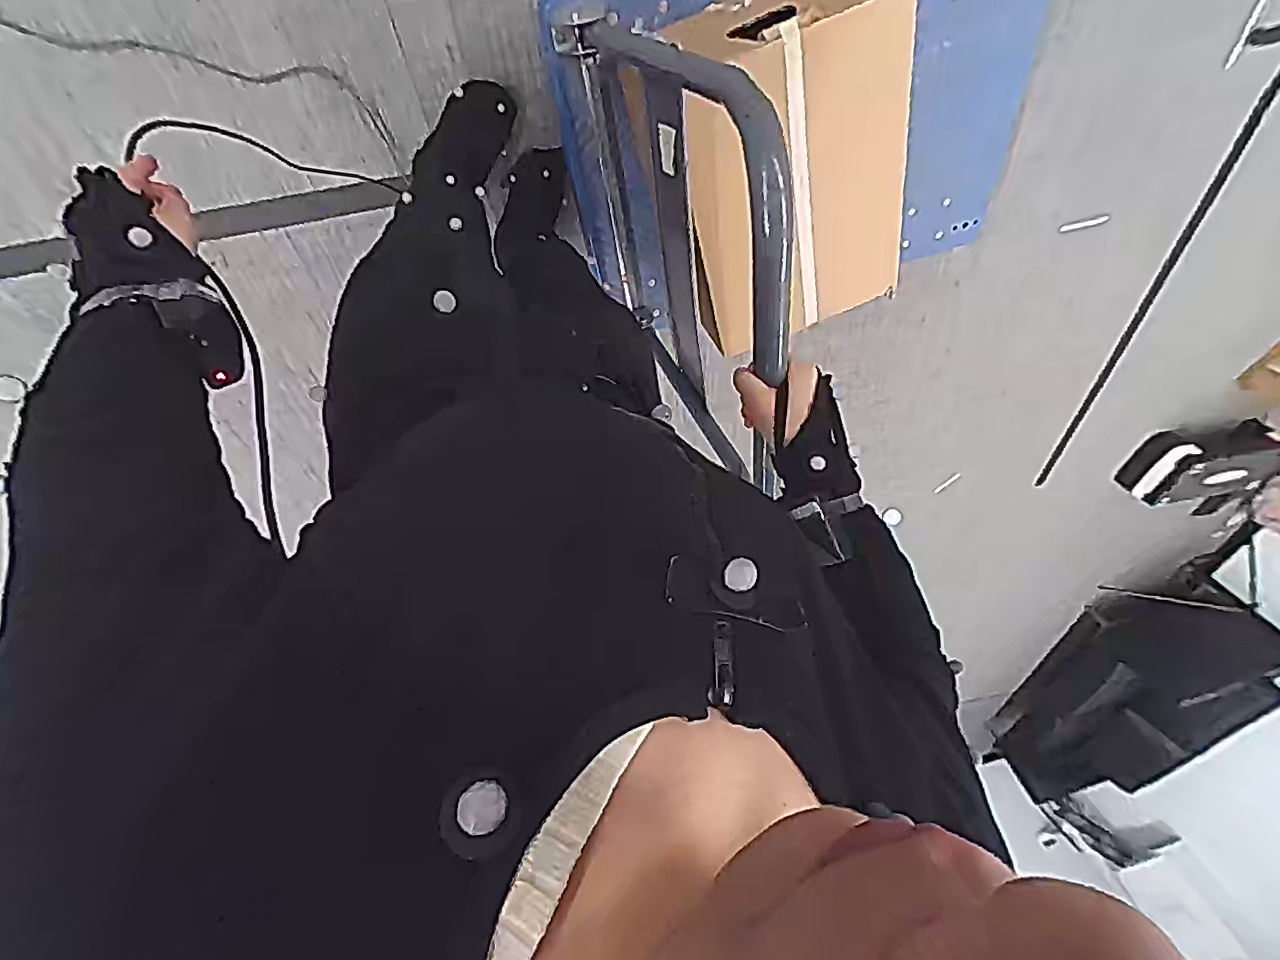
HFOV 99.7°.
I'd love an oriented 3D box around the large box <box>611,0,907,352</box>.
[{"bbox_3d":[0.186,-0.498,0.871,0.320,0.320,0.408,-22,137,2],"label":"large box"}]
